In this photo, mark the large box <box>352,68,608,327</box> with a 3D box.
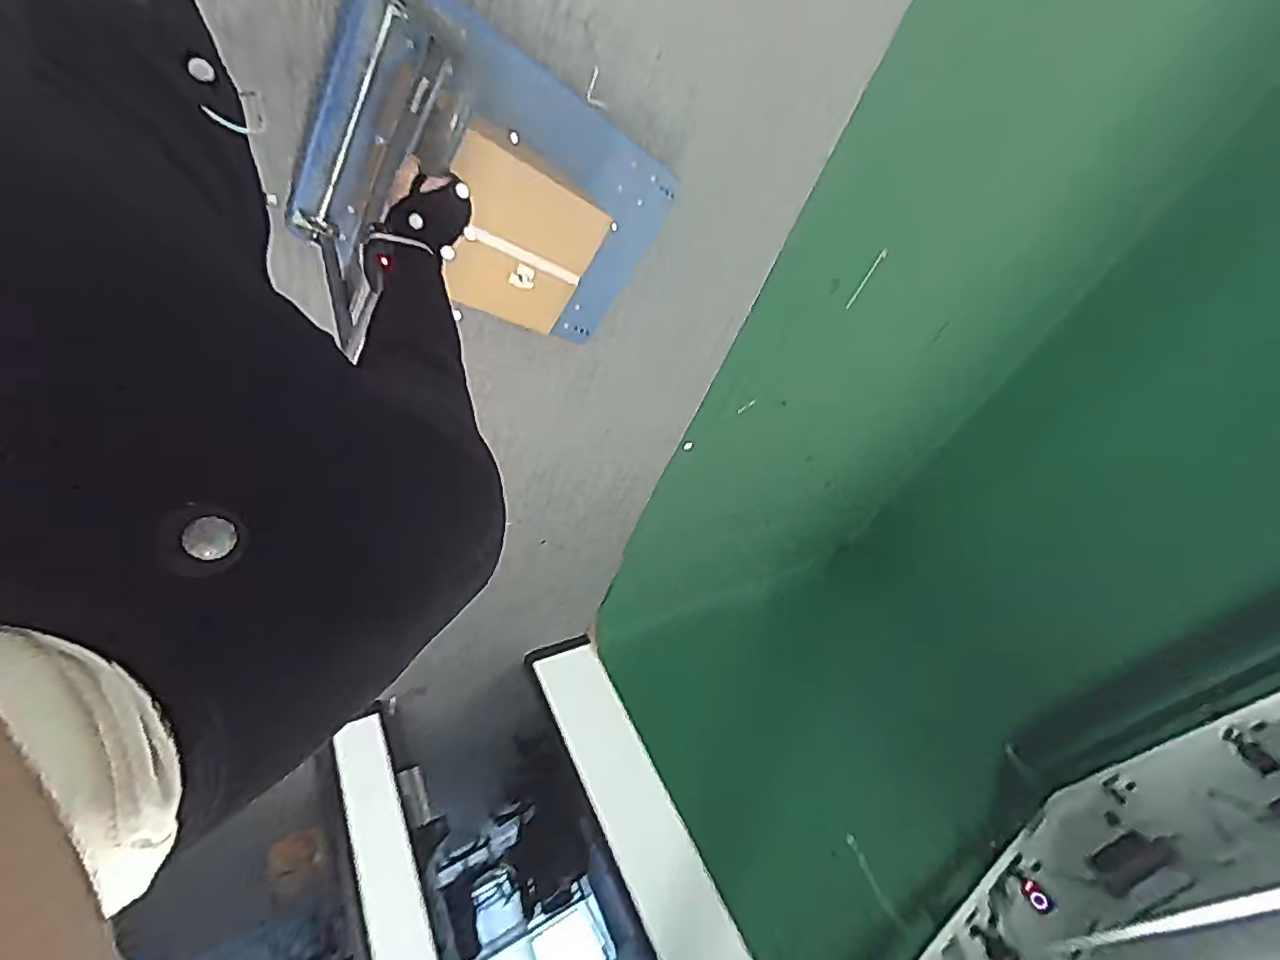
[{"bbox_3d":[-0.358,-0.602,1.199,0.408,0.320,0.320,8,129,-47],"label":"large box"}]
